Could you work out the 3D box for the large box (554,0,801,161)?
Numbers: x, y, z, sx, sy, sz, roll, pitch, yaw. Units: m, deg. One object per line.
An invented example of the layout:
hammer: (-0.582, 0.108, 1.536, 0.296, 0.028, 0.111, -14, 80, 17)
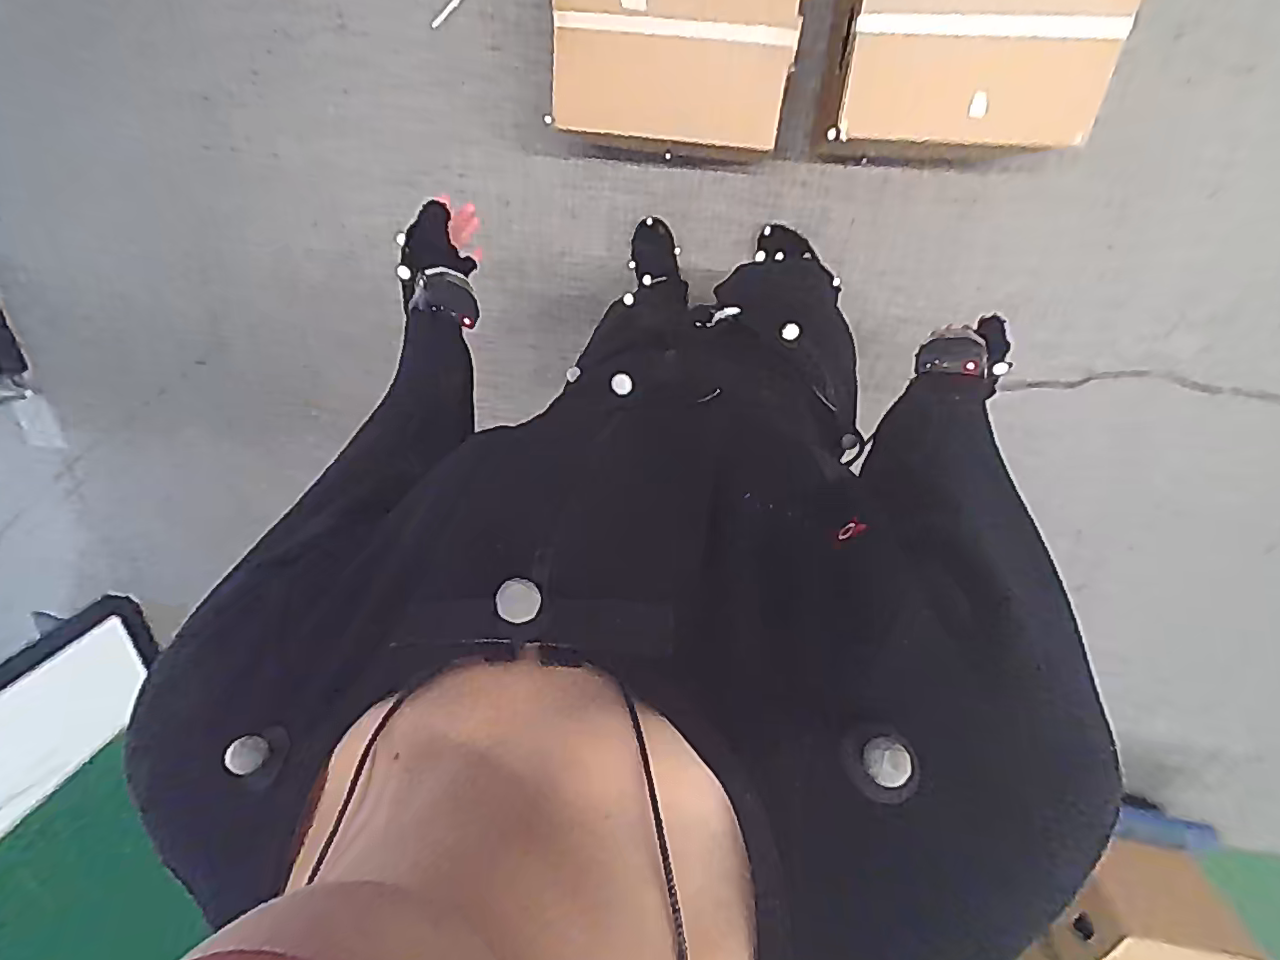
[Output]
large box: (0.077, -0.804, 1.023, 0.408, 0.320, 0.320, 9, 117, 5)
